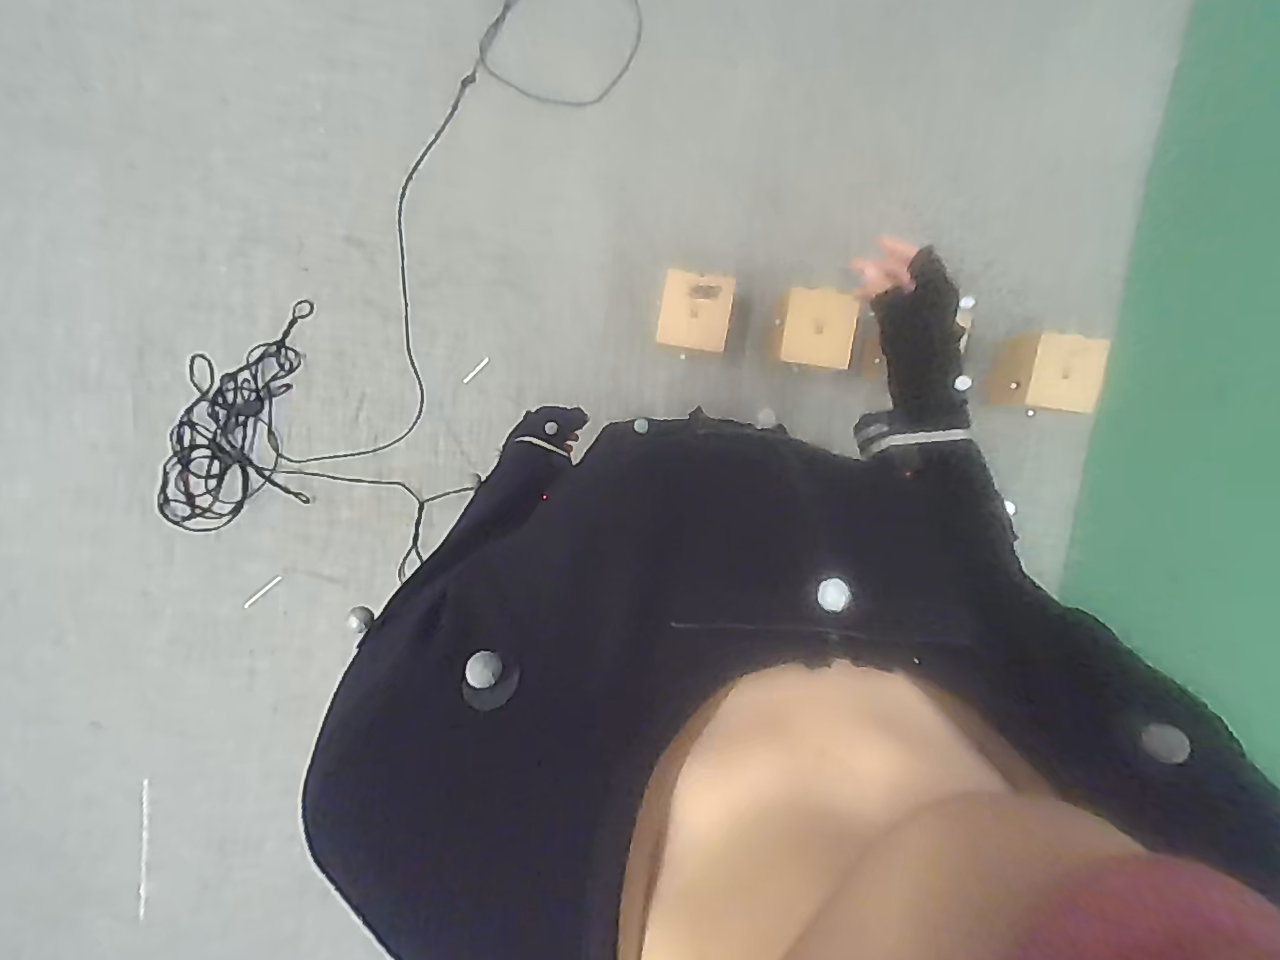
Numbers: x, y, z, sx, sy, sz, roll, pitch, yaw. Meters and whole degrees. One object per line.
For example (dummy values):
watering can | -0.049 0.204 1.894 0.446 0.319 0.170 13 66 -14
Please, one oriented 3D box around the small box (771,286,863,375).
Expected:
small box | 0.430 -0.364 1.346 0.168 0.176 0.179 8 95 1

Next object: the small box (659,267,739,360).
small box | 0.140 -0.407 1.347 0.168 0.176 0.179 10 97 1

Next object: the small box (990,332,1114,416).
small box | 1.011 -0.257 1.344 0.168 0.176 0.179 8 96 0
